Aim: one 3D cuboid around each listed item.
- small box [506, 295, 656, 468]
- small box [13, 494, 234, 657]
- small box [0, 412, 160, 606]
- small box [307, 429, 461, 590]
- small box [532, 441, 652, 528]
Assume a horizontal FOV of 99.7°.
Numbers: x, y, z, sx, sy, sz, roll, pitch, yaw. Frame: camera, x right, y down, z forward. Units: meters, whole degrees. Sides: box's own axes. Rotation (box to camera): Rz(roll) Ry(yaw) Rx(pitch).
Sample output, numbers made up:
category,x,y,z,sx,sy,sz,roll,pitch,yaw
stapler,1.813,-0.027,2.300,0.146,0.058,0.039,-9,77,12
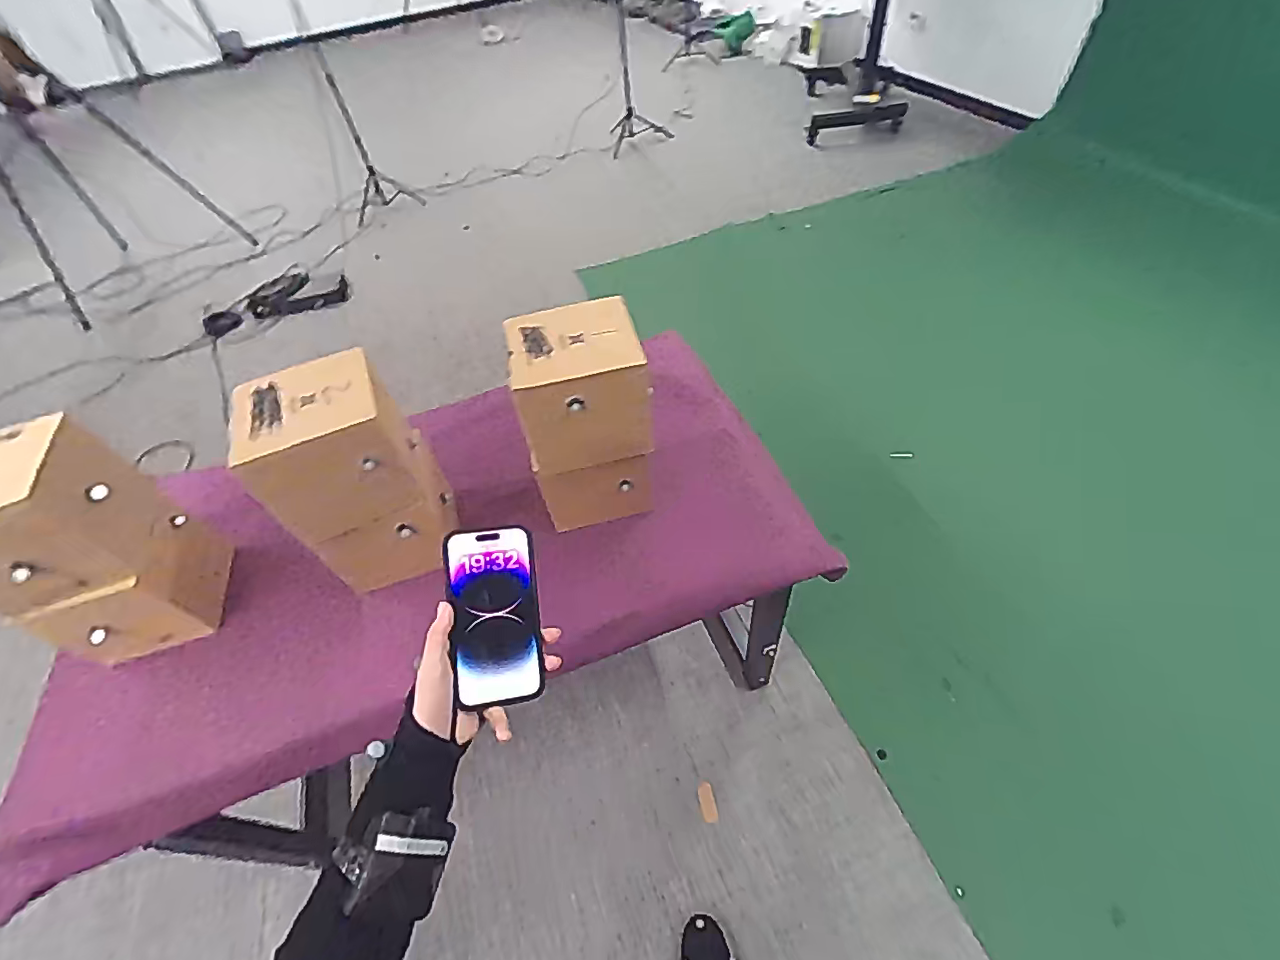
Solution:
category,x,y,z,sx,sy,sz,roll,pitch,yaw
small box,-0.083,-0.138,0.785,0.179,0.176,0.168,-13,50,-4
small box,-0.780,0.156,0.845,0.168,0.176,0.179,-18,50,-7
small box,-0.799,0.046,0.725,0.168,0.176,0.179,-21,52,-11
small box,-0.405,0.051,0.882,0.179,0.176,0.168,-18,51,-7
small box,-0.079,-0.042,0.919,0.179,0.176,0.168,-14,50,-3
